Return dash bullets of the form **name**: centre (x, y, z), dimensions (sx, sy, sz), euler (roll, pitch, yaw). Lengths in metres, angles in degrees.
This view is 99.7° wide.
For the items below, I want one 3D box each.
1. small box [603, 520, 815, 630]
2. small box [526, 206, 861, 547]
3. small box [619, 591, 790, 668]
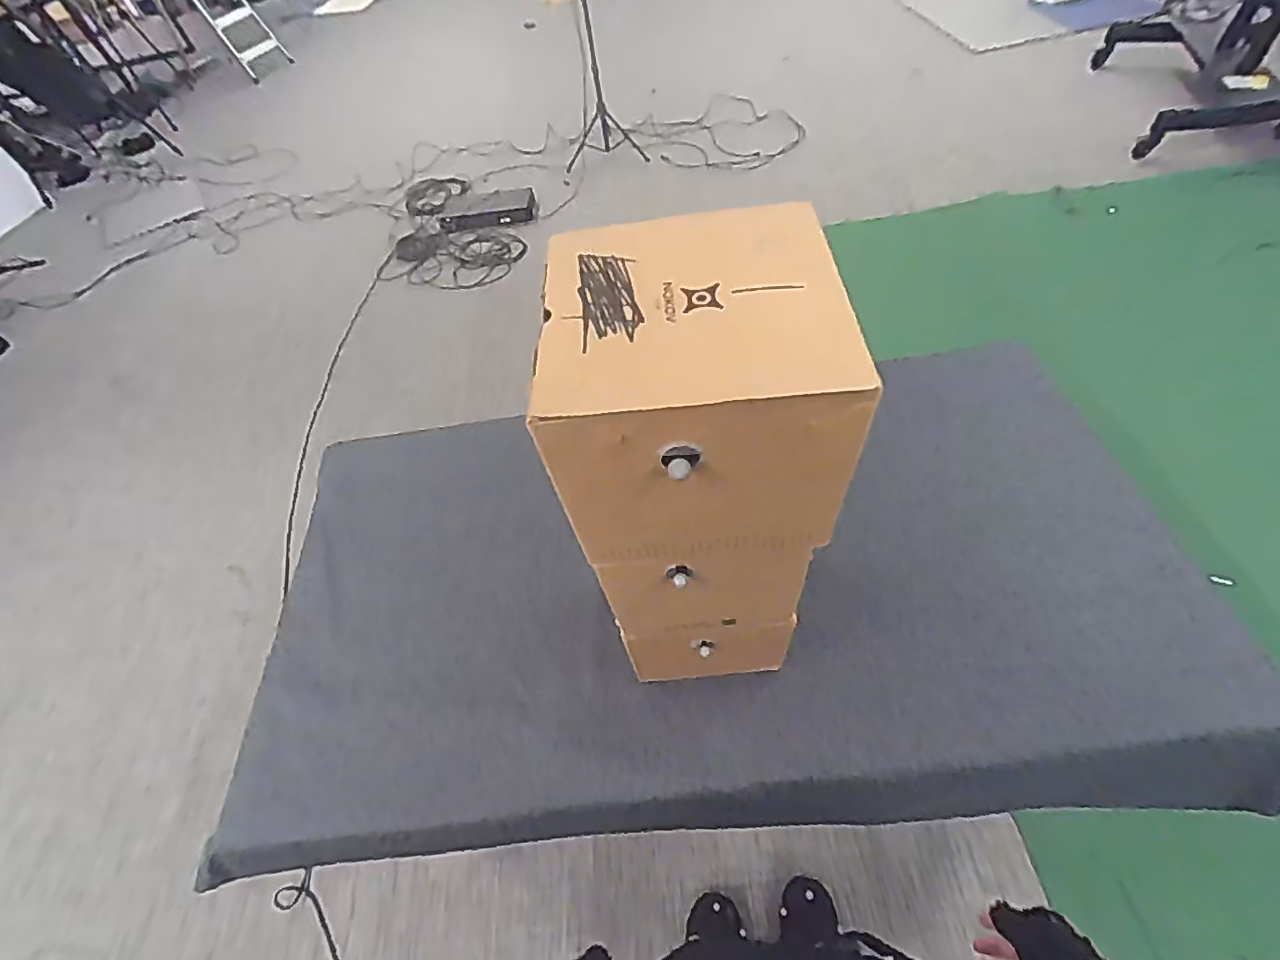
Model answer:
- **small box**: centre (0.054, 0.027, 0.525), dimensions (0.168, 0.176, 0.179), euler (-7, 56, 2)
- **small box**: centre (0.034, -0.062, 0.385), dimensions (0.179, 0.176, 0.168), euler (-5, 56, 5)
- **small box**: centre (0.071, 0.120, 0.656), dimensions (0.179, 0.176, 0.168), euler (-6, 55, 3)
